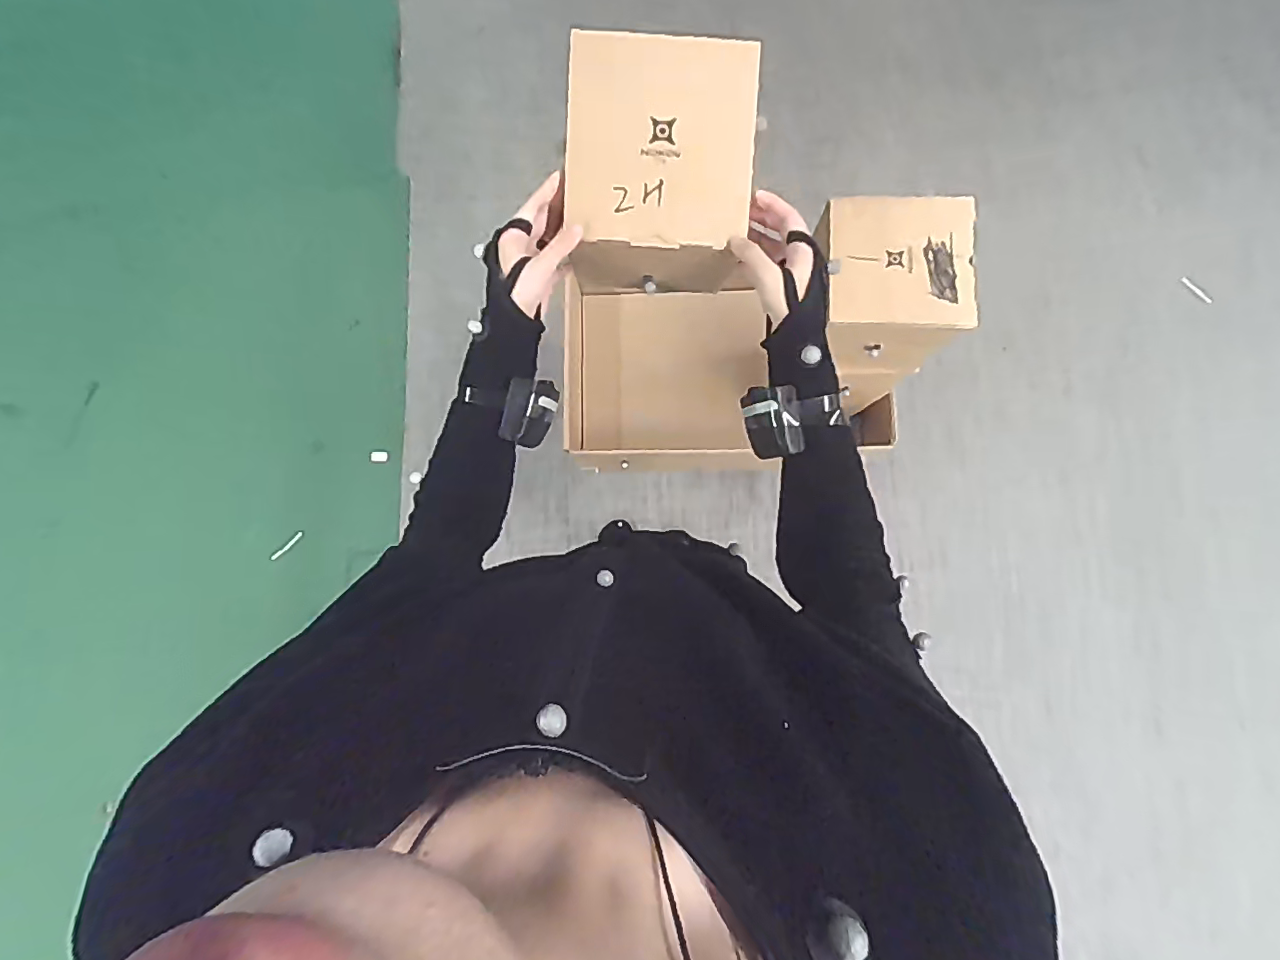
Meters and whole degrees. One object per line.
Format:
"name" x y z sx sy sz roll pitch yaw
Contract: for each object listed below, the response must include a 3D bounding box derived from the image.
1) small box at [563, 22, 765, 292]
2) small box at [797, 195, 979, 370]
"small box" 0.018 -0.304 0.546 0.168 0.176 0.179 4 97 -1
"small box" 0.321 -0.254 0.727 0.179 0.176 0.168 3 83 5
